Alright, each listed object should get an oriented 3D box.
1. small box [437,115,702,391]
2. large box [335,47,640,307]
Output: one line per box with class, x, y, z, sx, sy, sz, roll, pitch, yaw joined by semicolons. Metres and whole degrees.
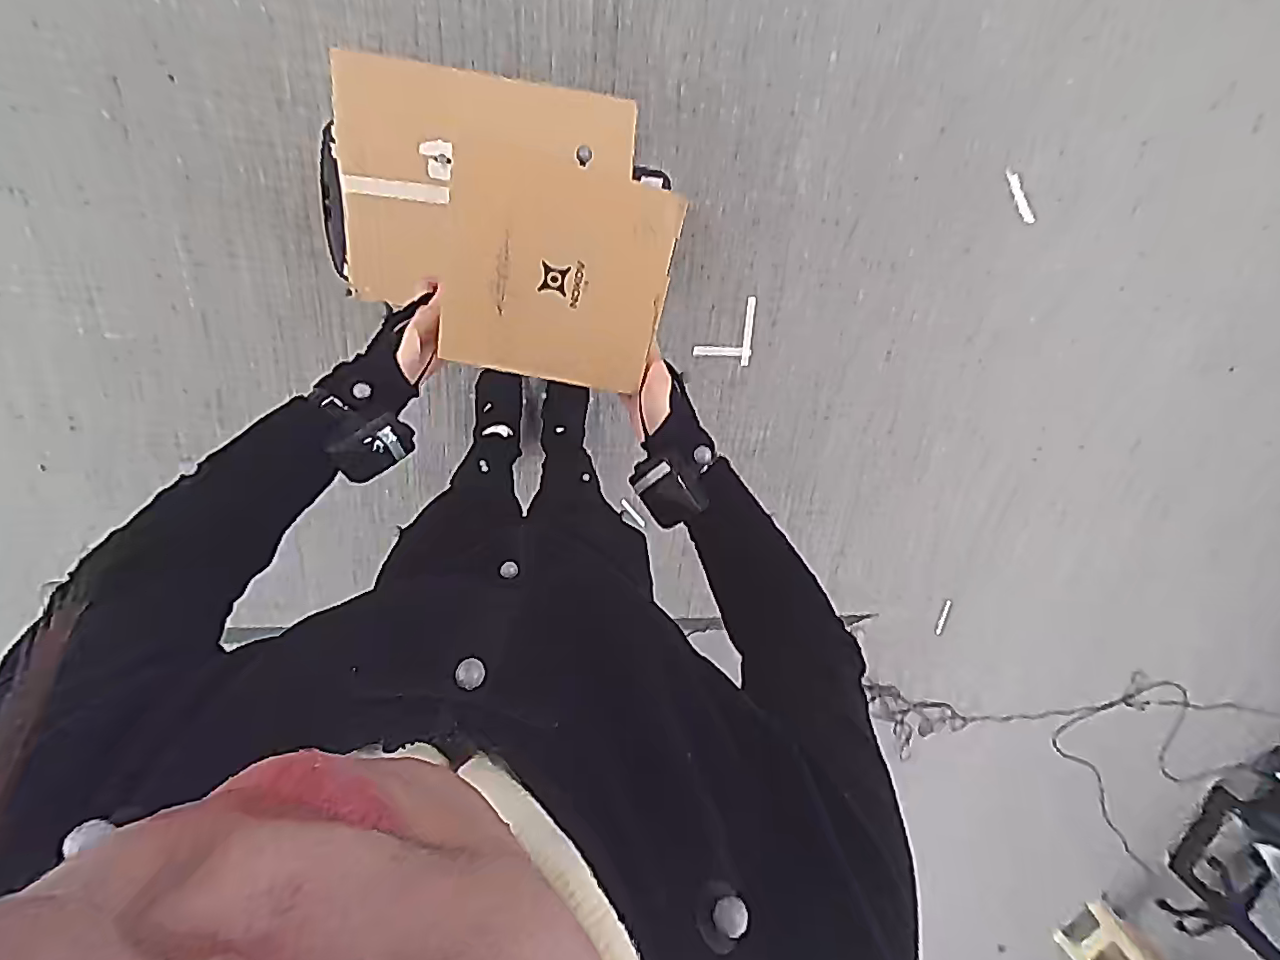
small box;-0.068;-0.198;0.479;0.179;0.176;0.168;9;117;-14
large box;-0.228;-0.459;0.908;0.408;0.320;0.320;2;111;-10
